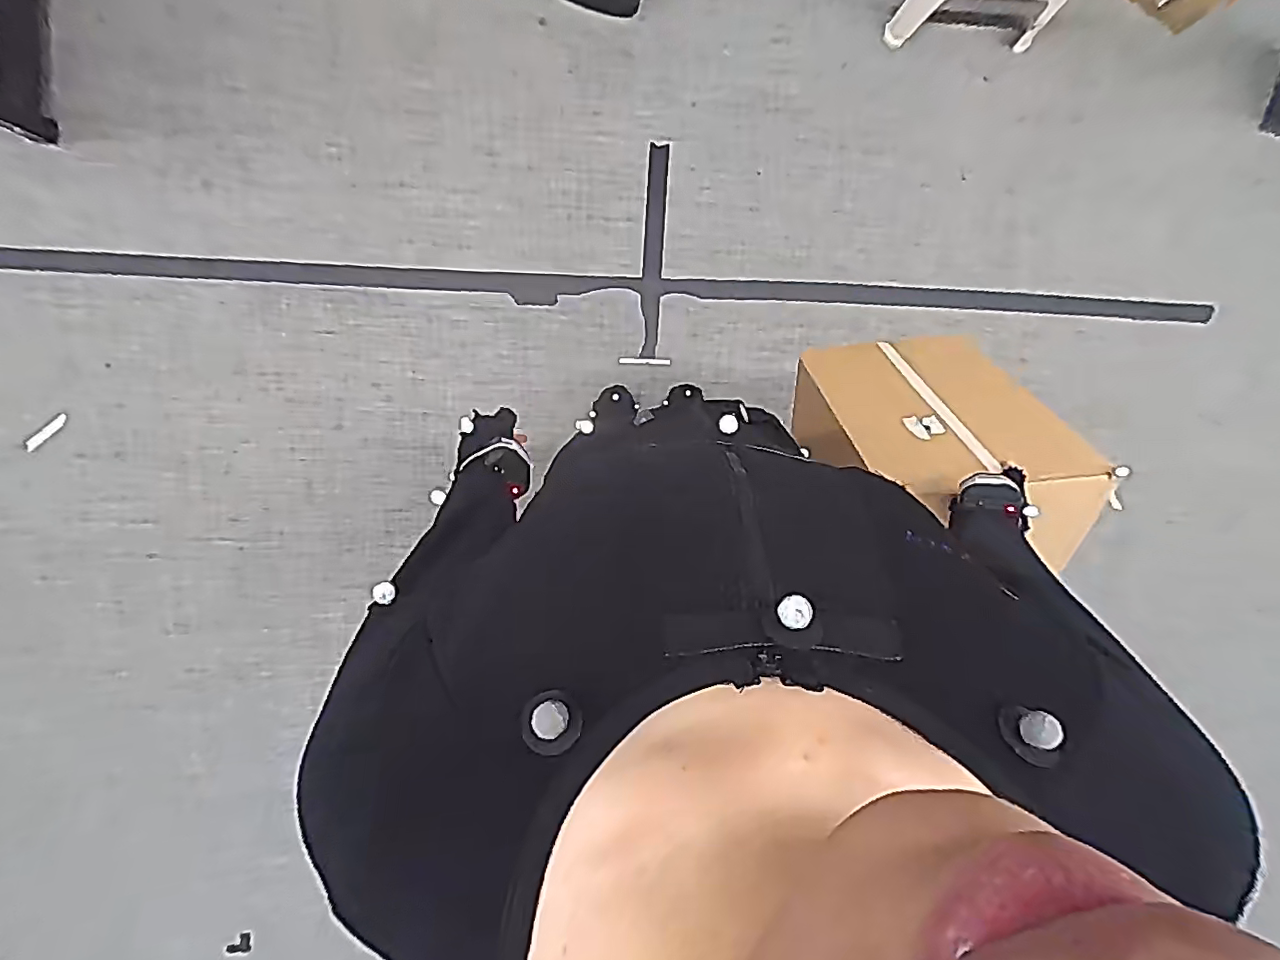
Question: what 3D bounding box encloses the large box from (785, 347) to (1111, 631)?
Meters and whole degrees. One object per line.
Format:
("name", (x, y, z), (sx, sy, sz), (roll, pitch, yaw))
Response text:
("large box", (0.480, 0.004, 0.973), (0.320, 0.408, 0.320), (-7, 131, 0))
